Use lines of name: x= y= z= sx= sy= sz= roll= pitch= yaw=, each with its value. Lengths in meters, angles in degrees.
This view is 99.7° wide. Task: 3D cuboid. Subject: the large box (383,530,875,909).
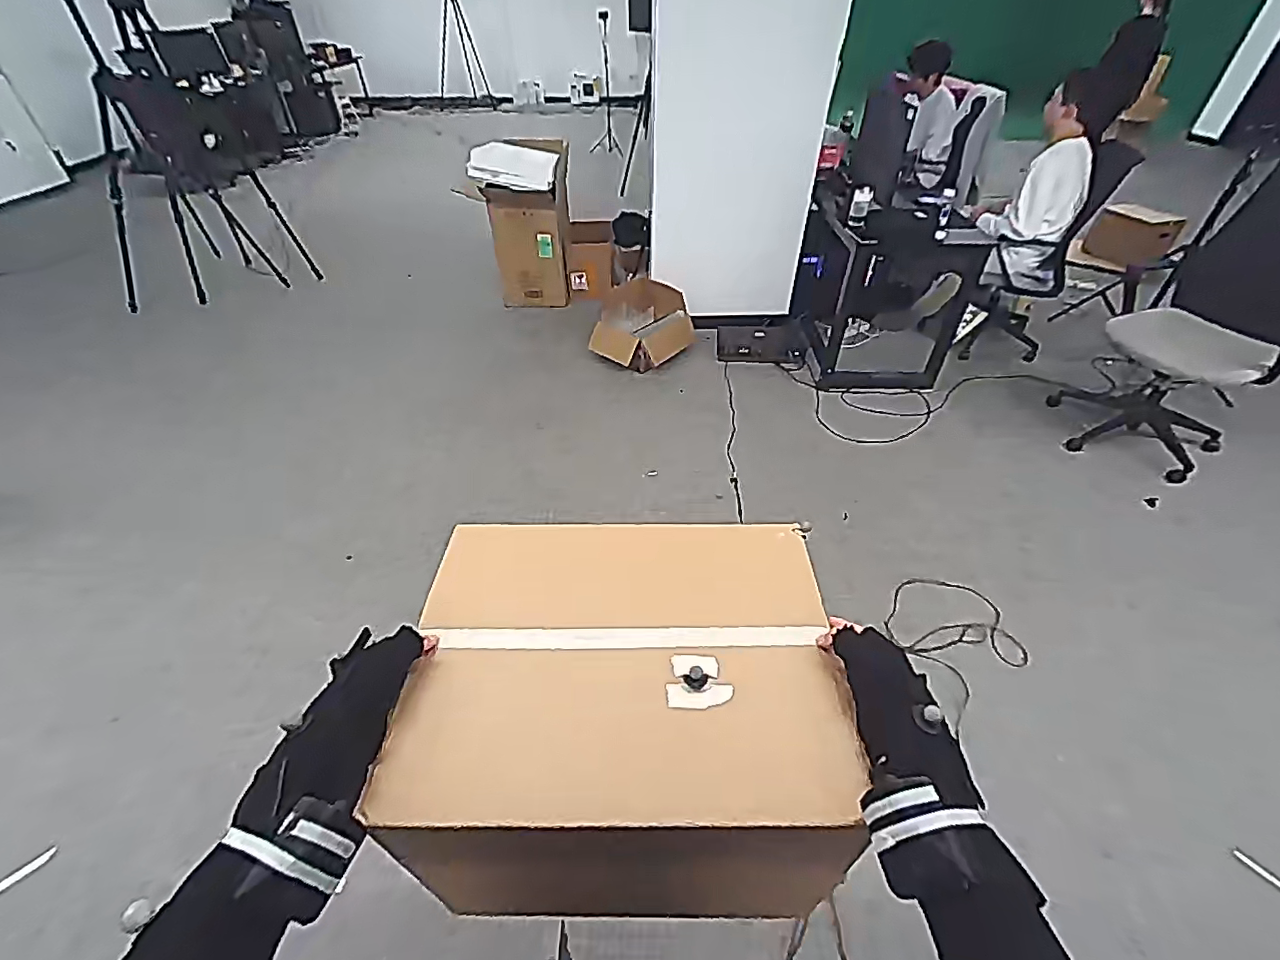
large box: x=-0.010 y=0.274 z=0.636 sx=0.408 sy=0.320 sz=0.320 roll=0 pitch=41 yaw=0
